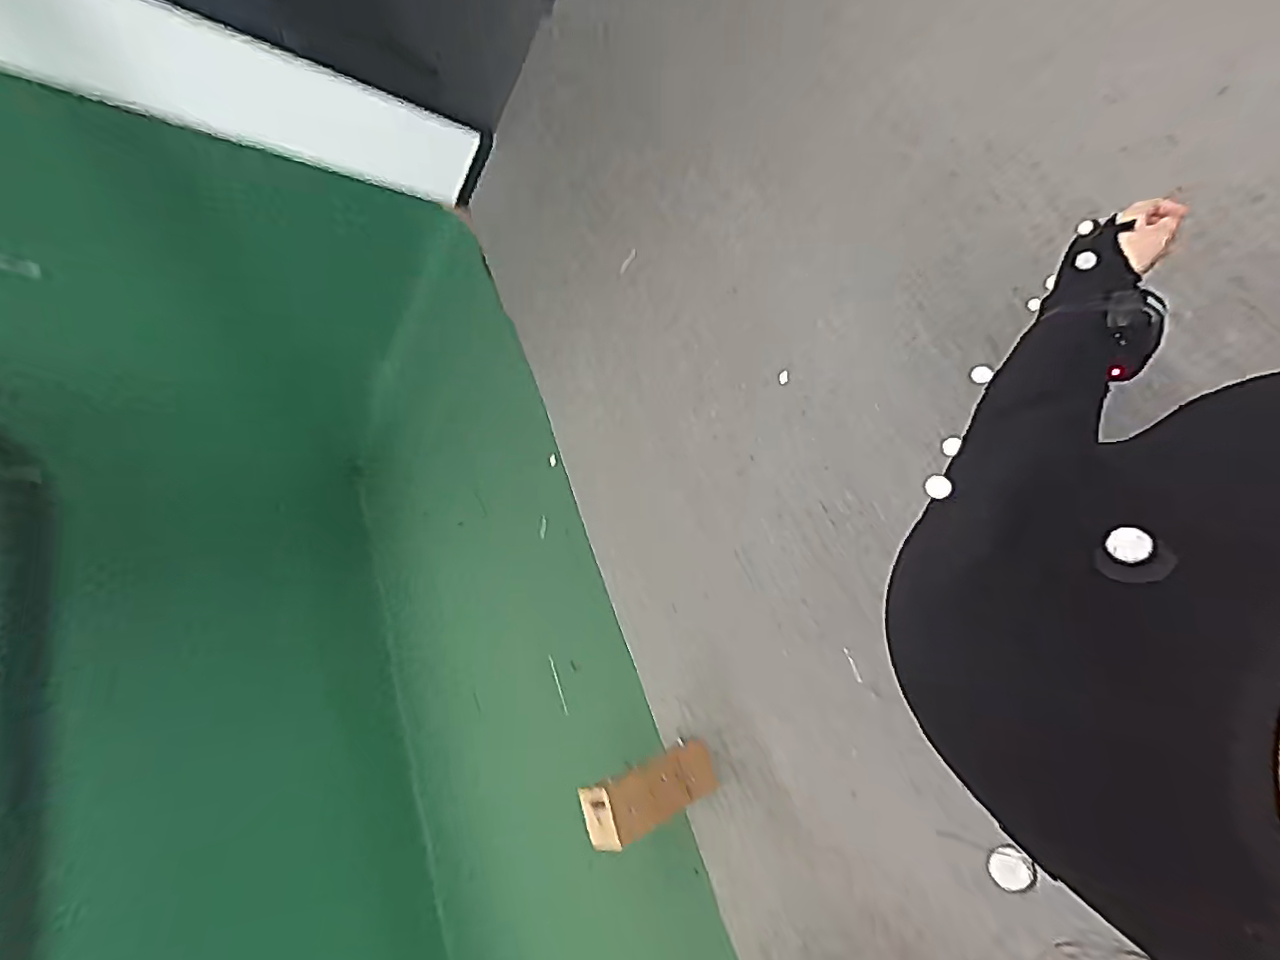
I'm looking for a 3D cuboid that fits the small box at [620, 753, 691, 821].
[{"bbox_3d":[0.061,1.099,1.942,0.179,0.176,0.168,-38,64,43],"label":"small box"}]

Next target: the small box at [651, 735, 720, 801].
[{"bbox_3d":[0.176,1.095,2.056,0.168,0.176,0.179,-36,65,43],"label":"small box"}]
